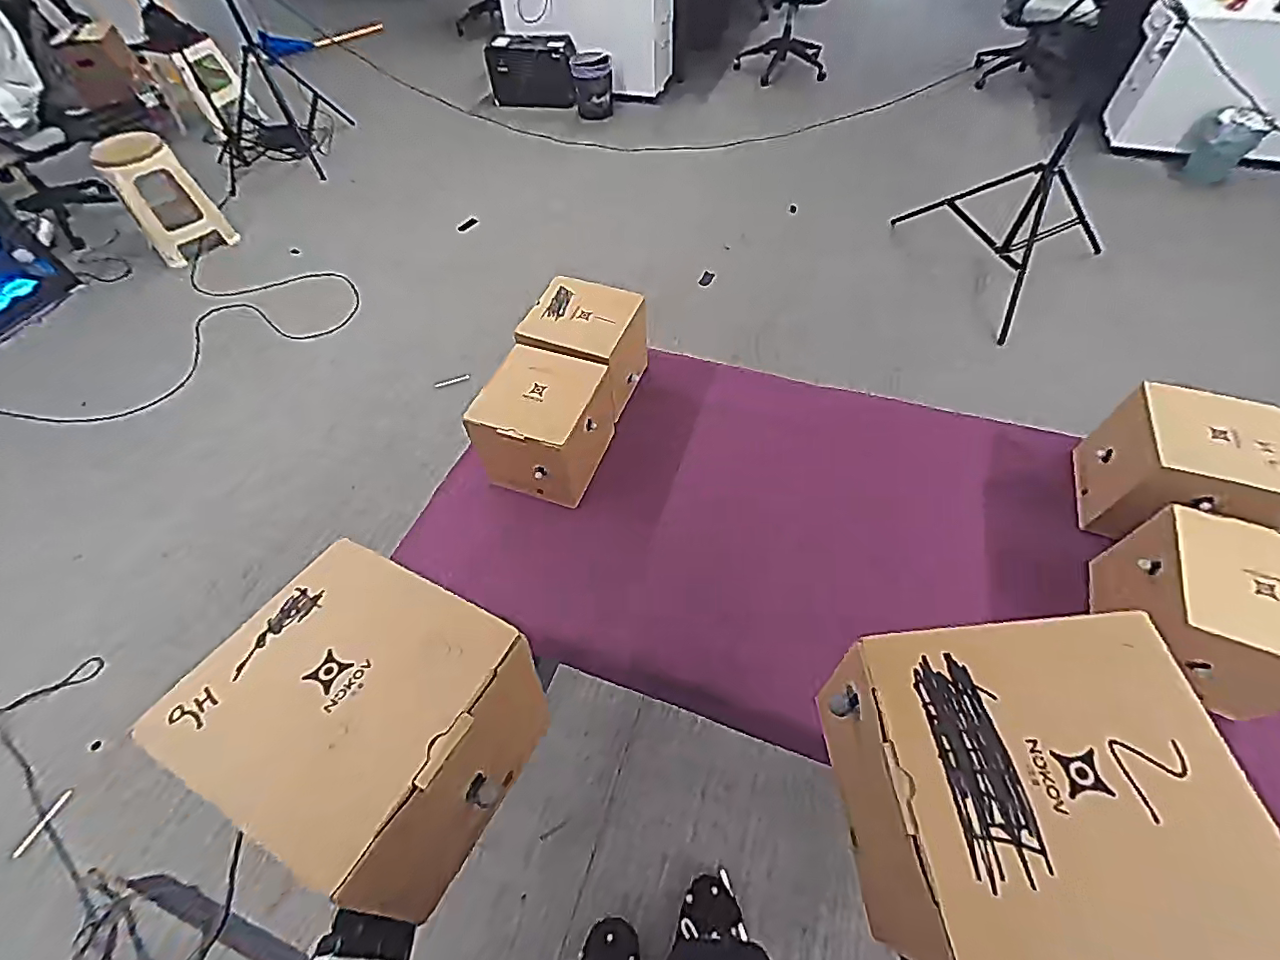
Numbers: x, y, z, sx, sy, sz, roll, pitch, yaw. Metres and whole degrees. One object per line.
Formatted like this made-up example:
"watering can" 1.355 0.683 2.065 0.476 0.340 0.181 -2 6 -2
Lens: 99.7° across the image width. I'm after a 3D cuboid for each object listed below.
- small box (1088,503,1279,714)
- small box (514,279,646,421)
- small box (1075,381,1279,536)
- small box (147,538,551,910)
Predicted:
"small box" 0.702 0.164 0.675 0.168 0.176 0.179 19 57 16
"small box" -0.098 -0.232 0.983 0.179 0.176 0.168 18 59 13
"small box" 0.776 -0.013 0.790 0.179 0.176 0.168 16 58 13
"small box" -0.183 0.180 0.403 0.179 0.176 0.168 23 52 18
